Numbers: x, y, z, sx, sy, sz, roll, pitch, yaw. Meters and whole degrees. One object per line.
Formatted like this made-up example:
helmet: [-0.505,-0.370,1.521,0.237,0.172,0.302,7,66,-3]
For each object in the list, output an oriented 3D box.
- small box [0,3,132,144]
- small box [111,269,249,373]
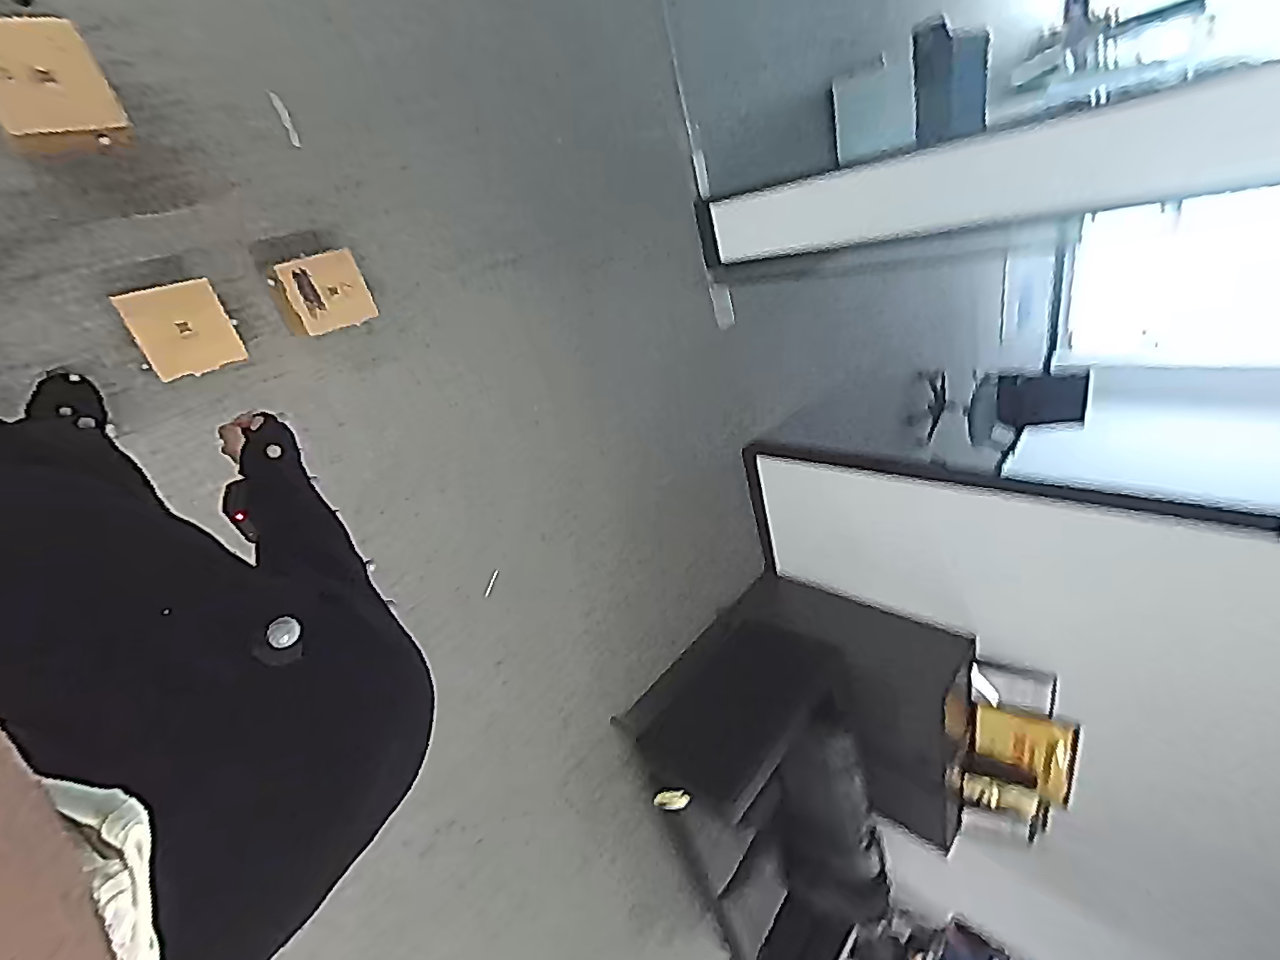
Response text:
small box: [-1.072,-0.722,0.972,0.179,0.176,0.168,-33,122,-35]
small box: [-0.987,-0.339,1.159,0.168,0.176,0.179,-33,123,-35]
